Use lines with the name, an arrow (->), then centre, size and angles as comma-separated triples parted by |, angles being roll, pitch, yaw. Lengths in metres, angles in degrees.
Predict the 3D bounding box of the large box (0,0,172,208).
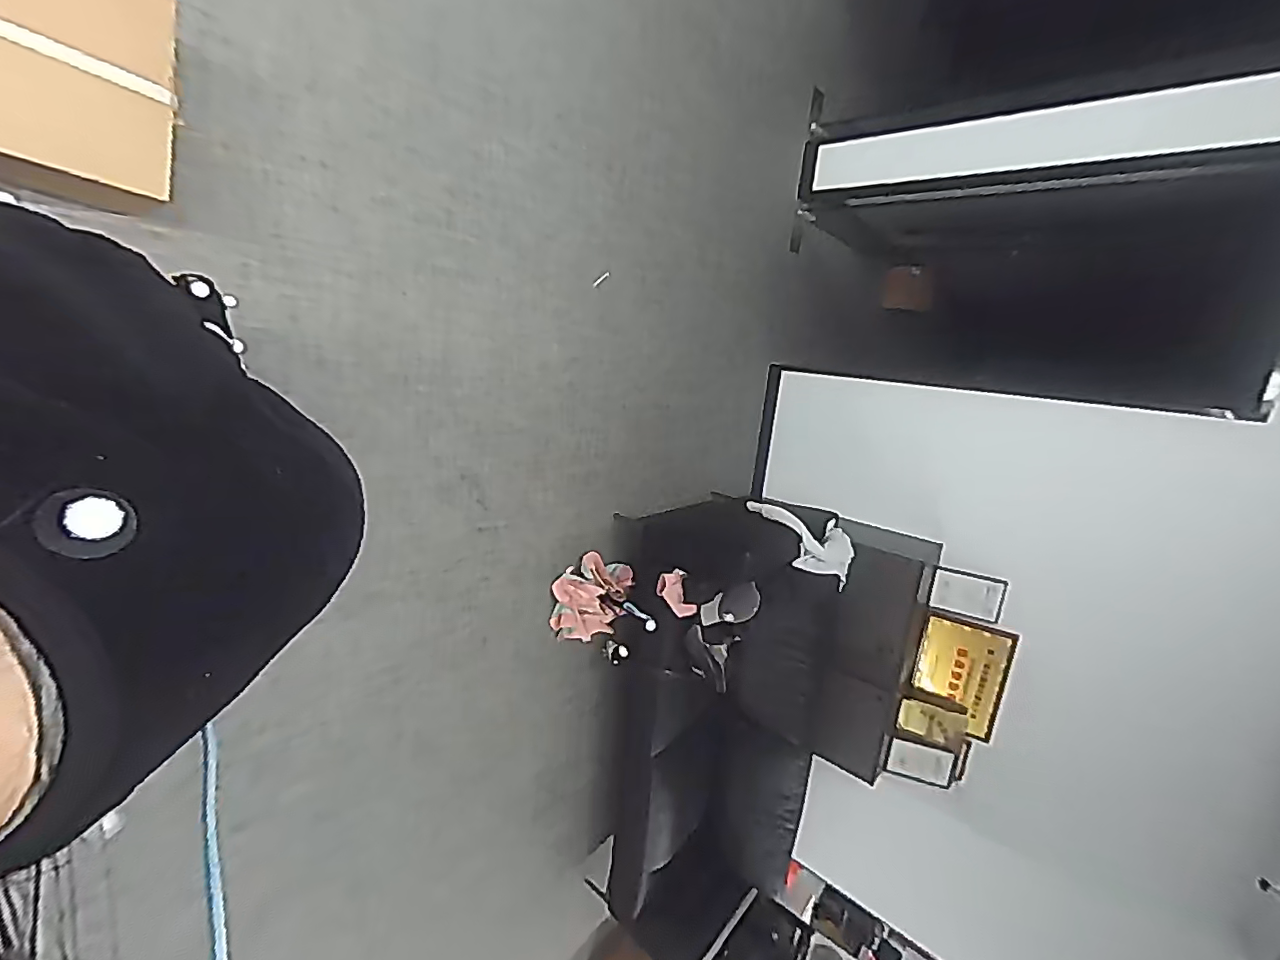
large box -> -0.997, -0.646, 0.816 | 0.408, 0.320, 0.320 | -1, 103, -51
